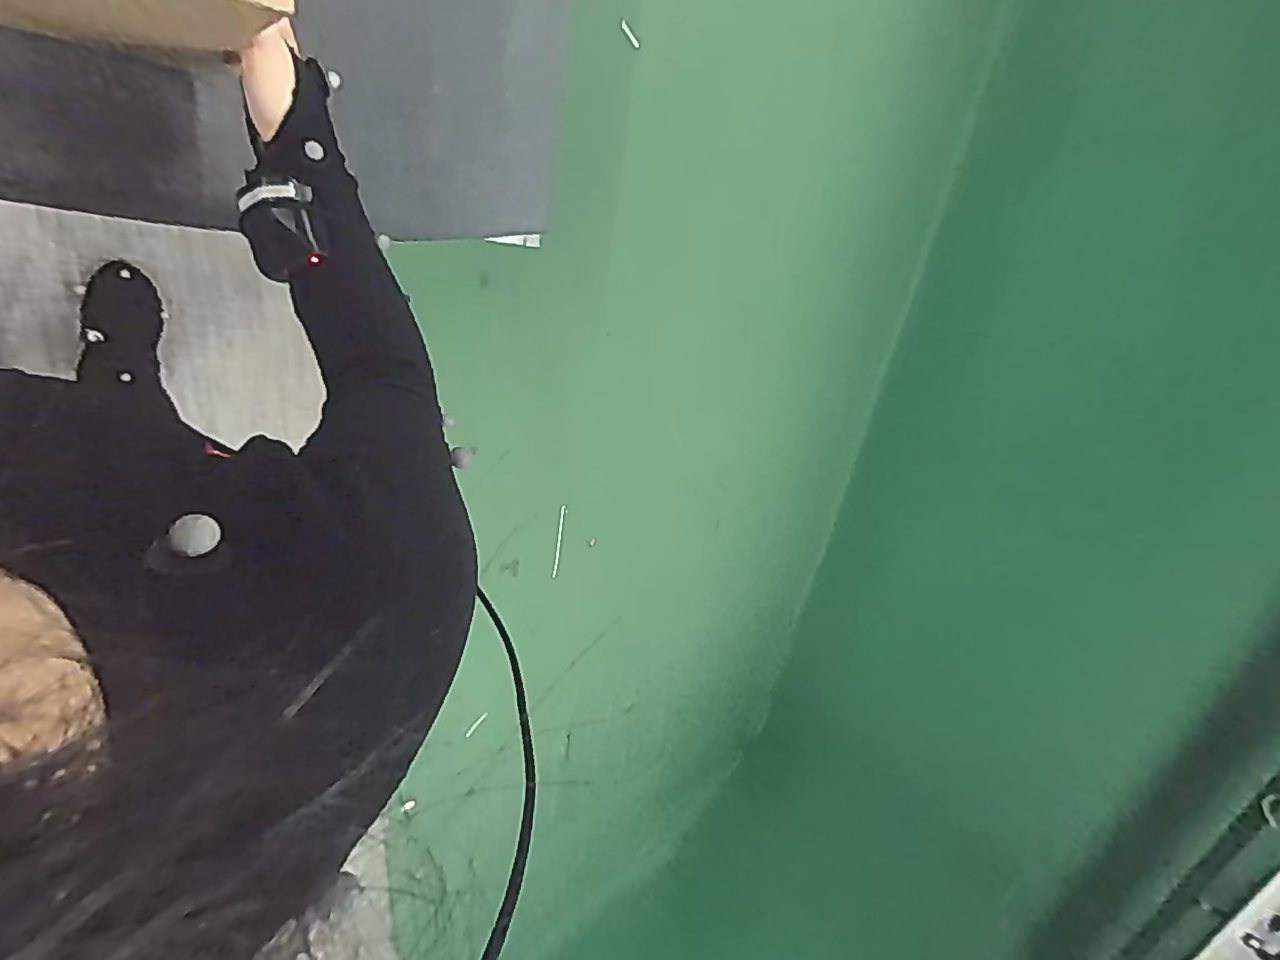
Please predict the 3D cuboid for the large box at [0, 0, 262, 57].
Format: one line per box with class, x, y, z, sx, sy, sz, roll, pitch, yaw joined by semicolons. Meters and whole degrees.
large box;-0.426;-0.422;0.204;0.408;0.320;0.320;-15;124;-42
